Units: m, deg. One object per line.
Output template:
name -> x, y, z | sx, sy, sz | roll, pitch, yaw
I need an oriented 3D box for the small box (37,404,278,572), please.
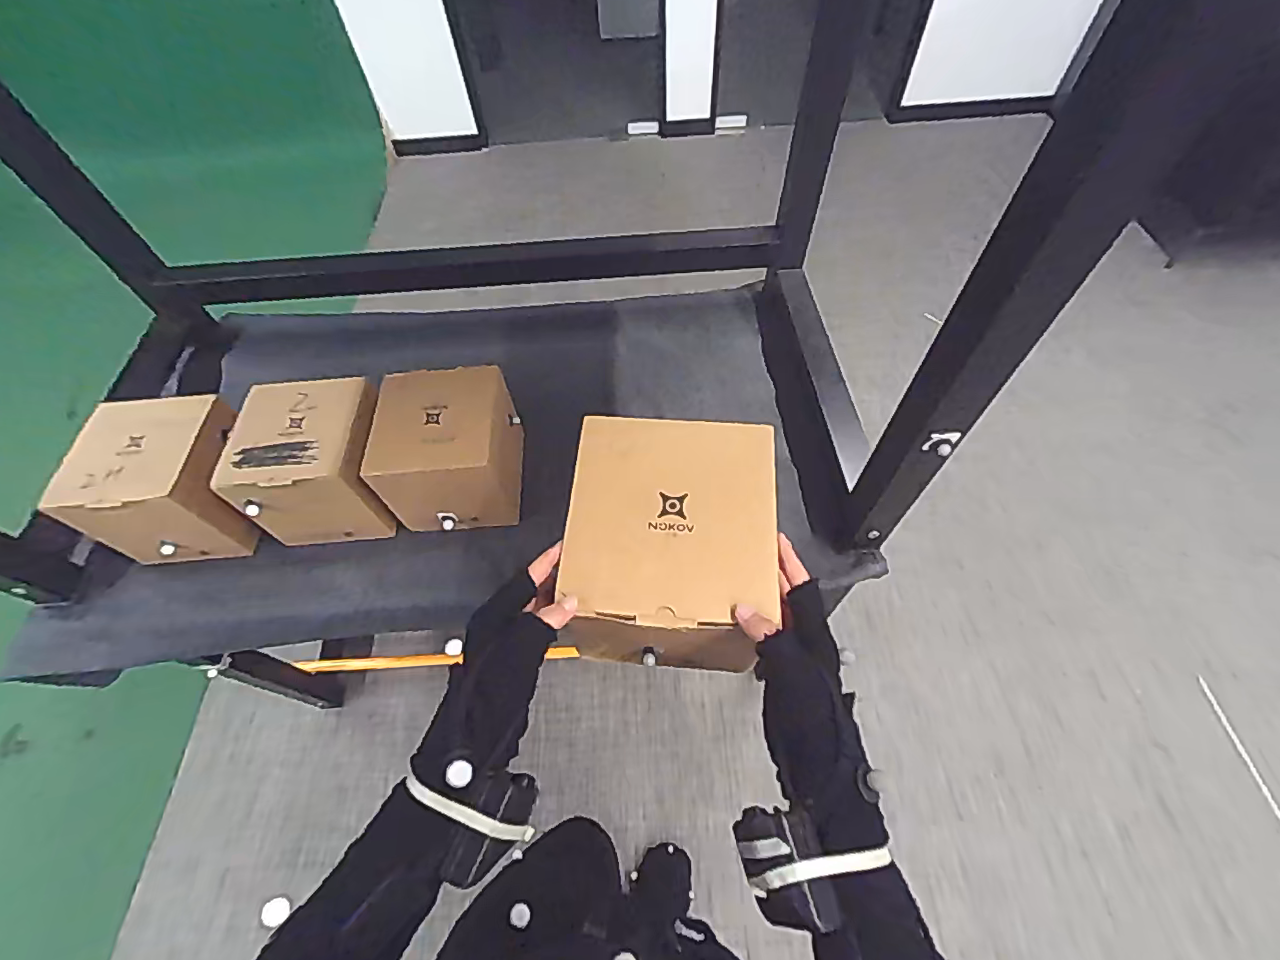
small box -> -0.664, 0.015, 0.777 | 0.168, 0.176, 0.179 | -5, 56, -1
